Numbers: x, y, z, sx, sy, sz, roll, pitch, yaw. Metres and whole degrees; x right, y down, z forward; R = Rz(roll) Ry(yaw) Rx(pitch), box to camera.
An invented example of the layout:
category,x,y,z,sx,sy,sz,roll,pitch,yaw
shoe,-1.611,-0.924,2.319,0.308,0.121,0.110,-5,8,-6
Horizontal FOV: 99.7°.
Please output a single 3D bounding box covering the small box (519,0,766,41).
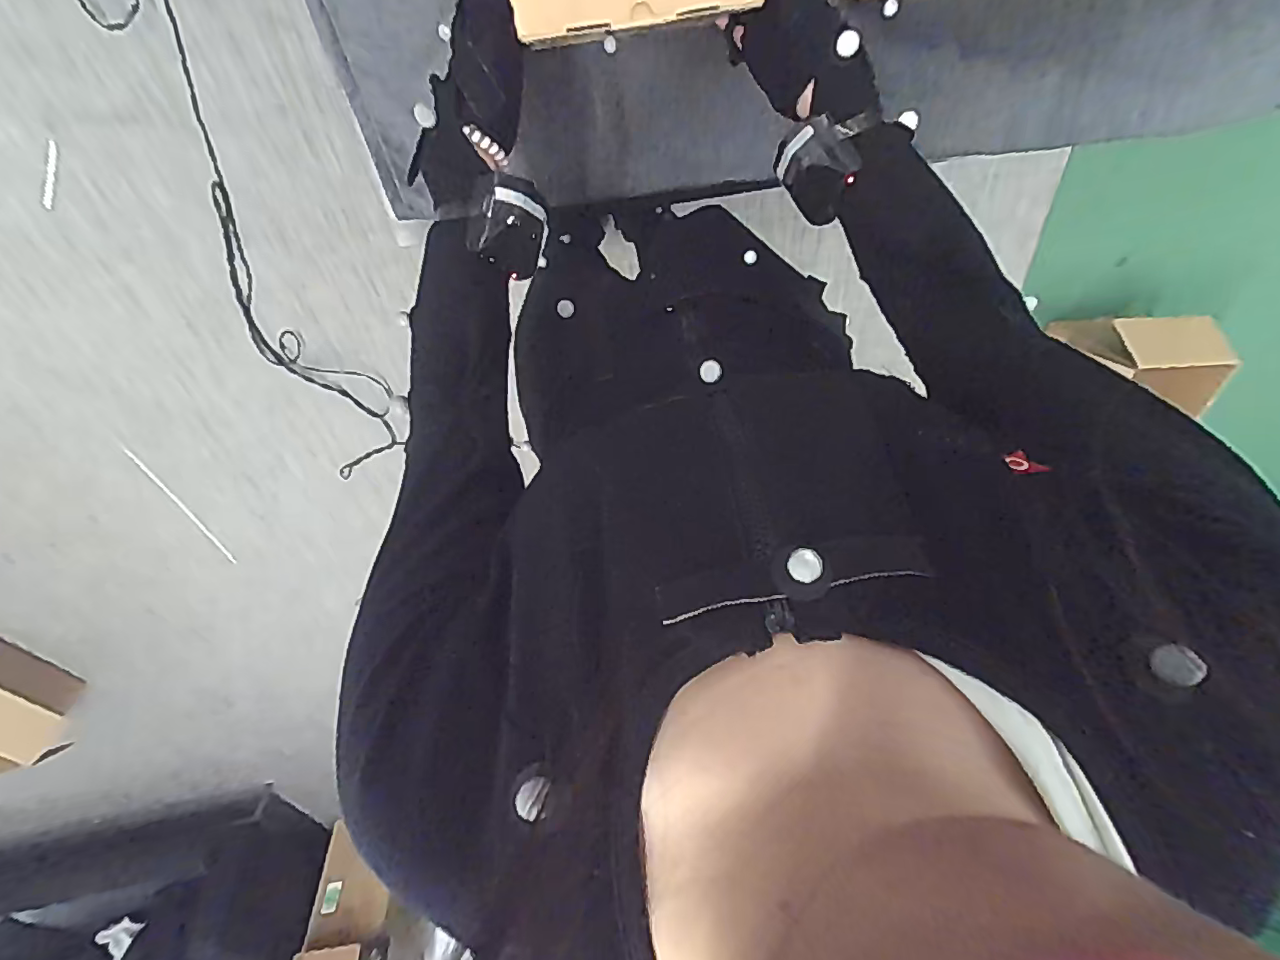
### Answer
category,x,y,z,sx,sy,sz,roll,pitch,yaw
small box,-0.016,-0.419,0.364,0.168,0.176,0.179,-11,129,-2
